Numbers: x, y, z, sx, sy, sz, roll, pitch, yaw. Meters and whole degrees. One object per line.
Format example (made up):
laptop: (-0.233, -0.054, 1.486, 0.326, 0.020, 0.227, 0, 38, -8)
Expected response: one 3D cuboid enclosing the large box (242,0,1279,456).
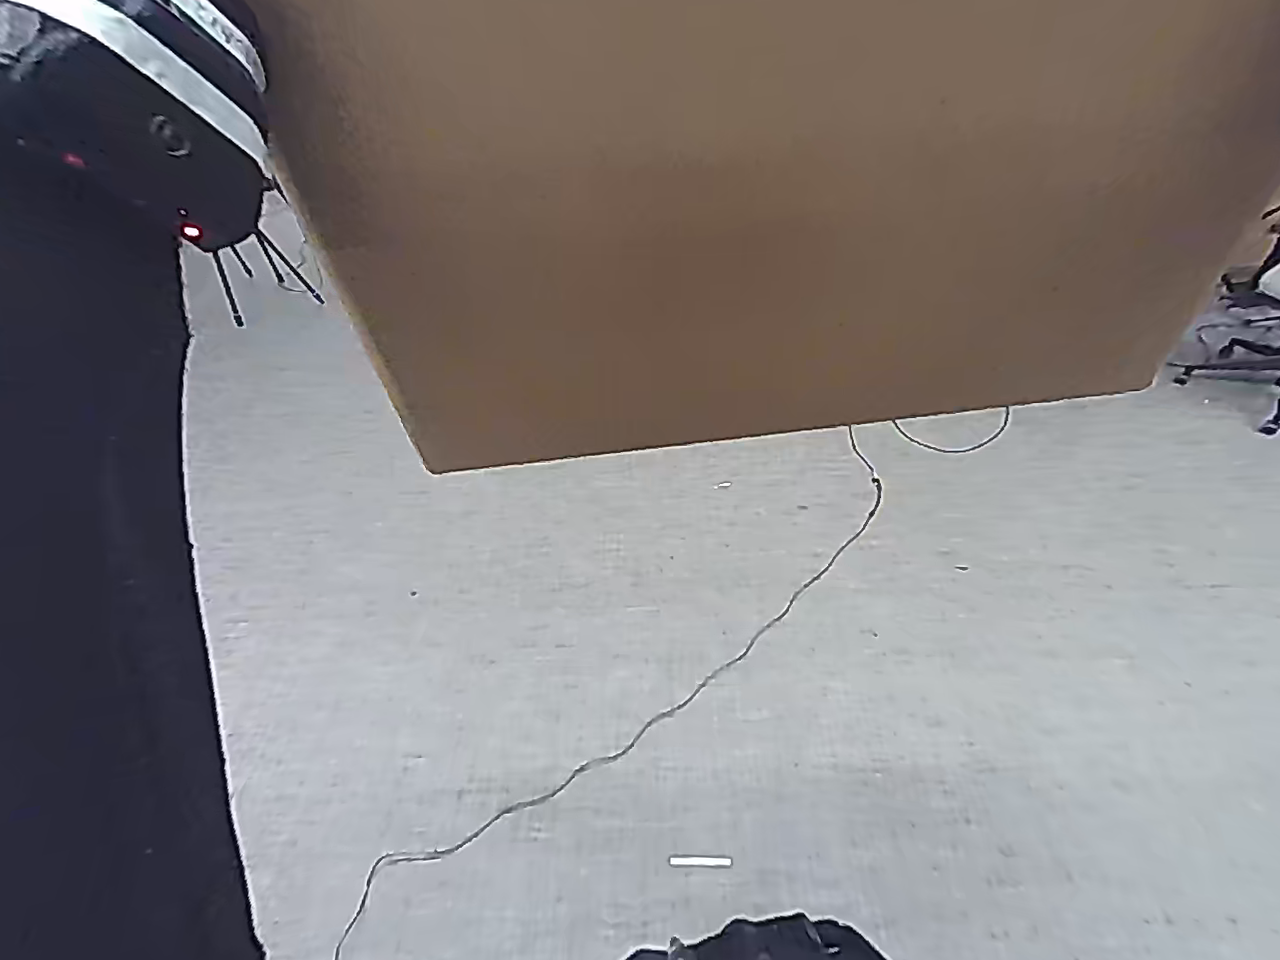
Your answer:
large box: (0.053, -0.243, 0.321, 0.408, 0.320, 0.320, -7, 44, 0)
